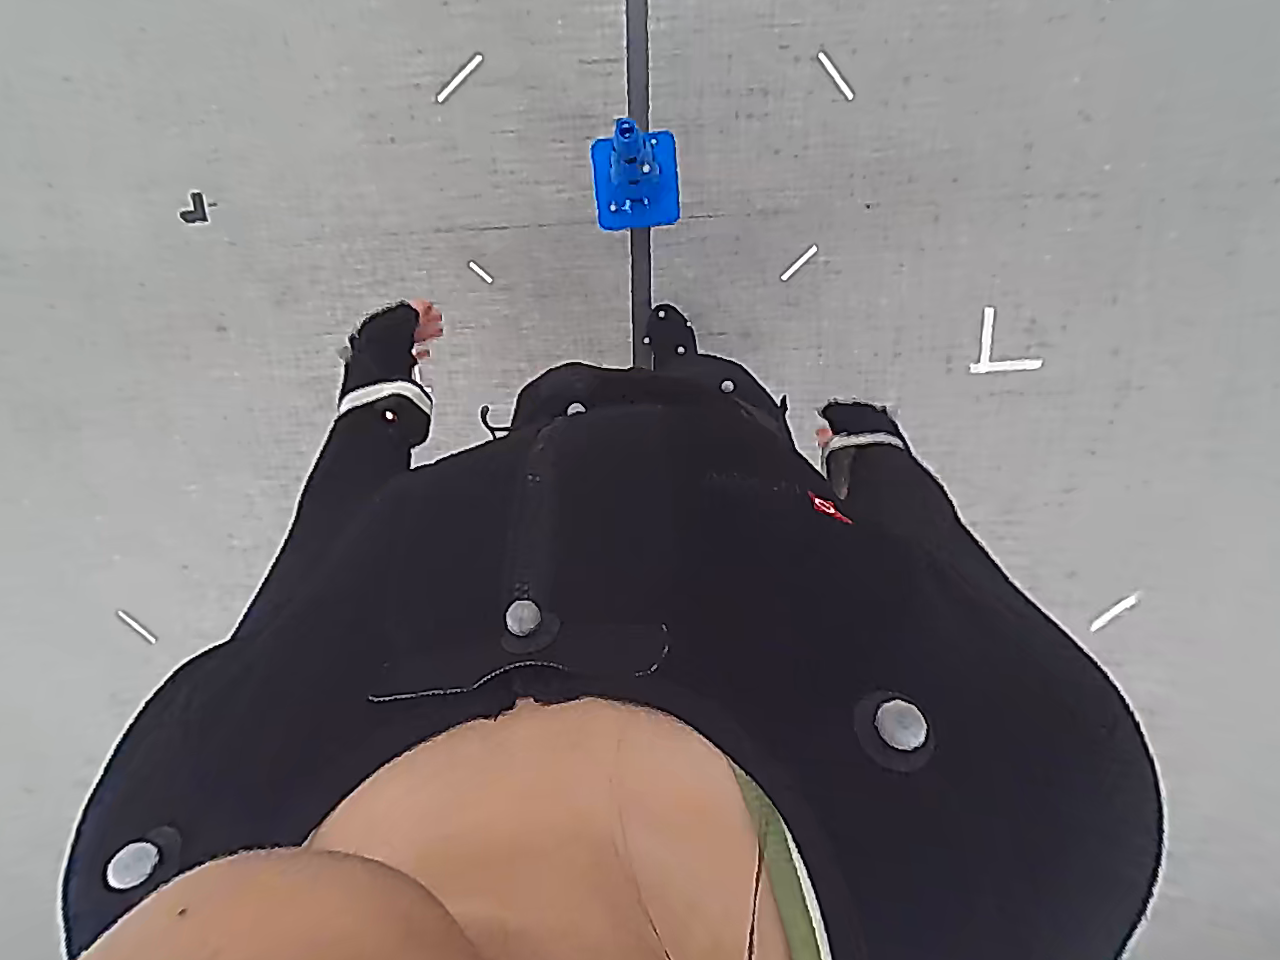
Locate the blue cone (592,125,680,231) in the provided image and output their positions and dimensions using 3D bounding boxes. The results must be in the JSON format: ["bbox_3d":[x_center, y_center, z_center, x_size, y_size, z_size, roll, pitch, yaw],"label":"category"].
[{"bbox_3d":[-0.013,-0.651,1.110,0.192,0.380,0.193,-6,106,4],"label":"blue cone"}]
